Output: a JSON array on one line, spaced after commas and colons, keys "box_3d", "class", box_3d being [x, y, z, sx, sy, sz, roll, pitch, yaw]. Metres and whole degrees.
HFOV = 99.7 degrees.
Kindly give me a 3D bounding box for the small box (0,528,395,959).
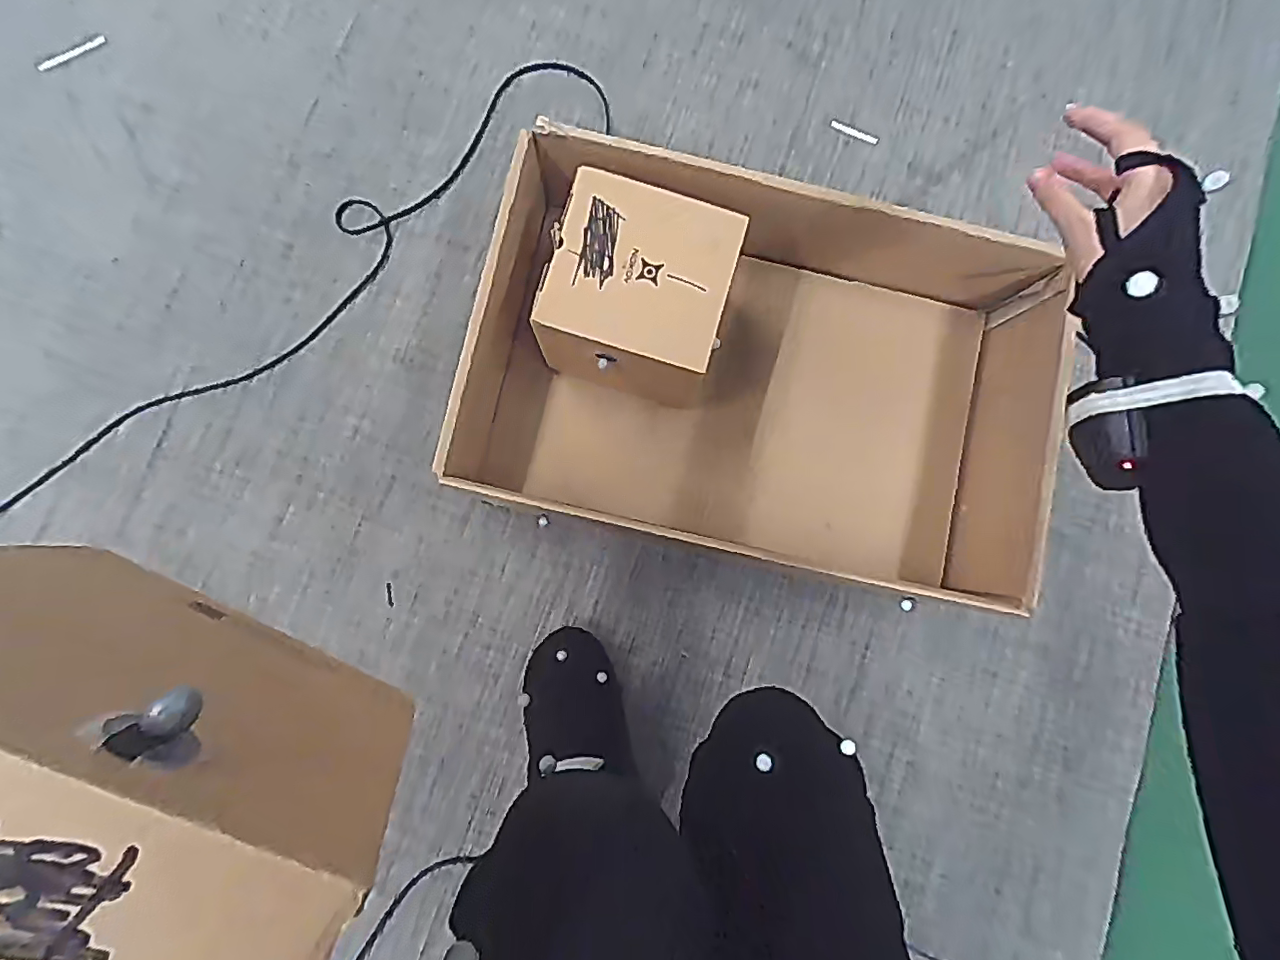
[{"box_3d": [-0.196, 0.128, 0.161, 0.168, 0.176, 0.179, 34, 74, -13], "class": "small box"}]
